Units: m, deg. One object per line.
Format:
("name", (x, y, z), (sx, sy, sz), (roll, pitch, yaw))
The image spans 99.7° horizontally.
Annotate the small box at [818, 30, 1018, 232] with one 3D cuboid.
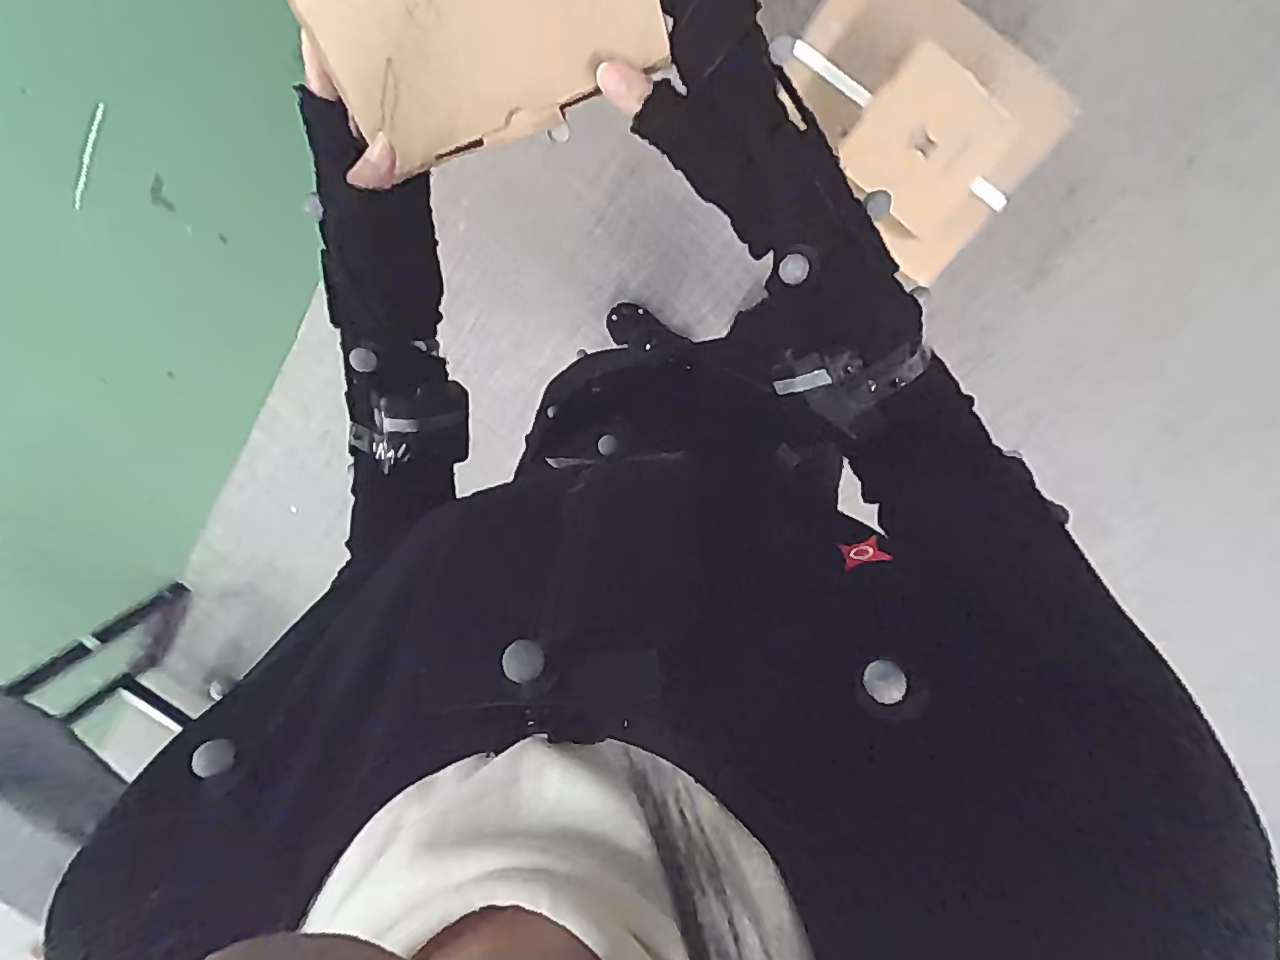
("small box", (0.382, -0.486, 0.783), (0.179, 0.176, 0.168), (36, 118, -8))
